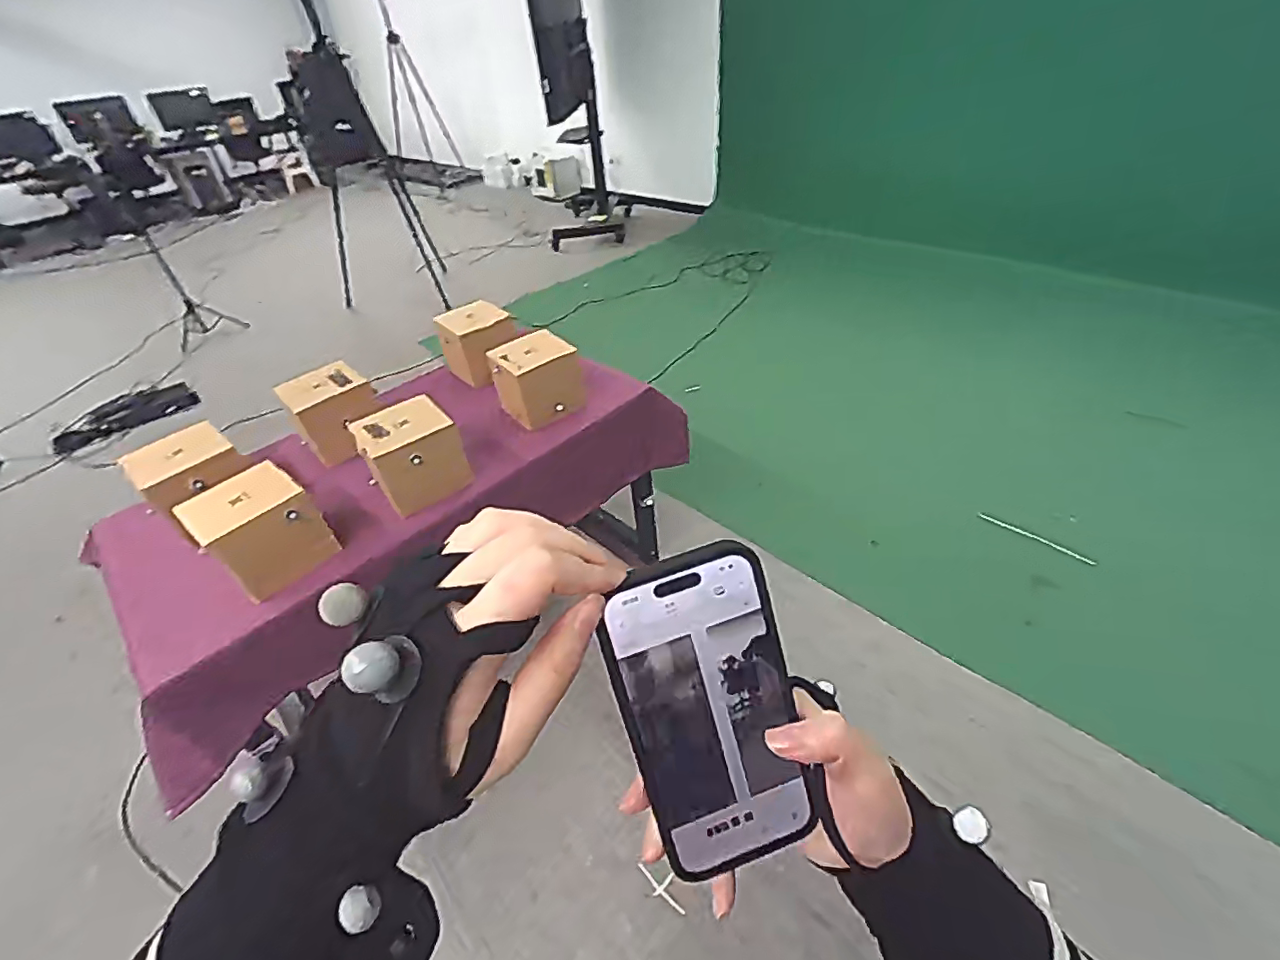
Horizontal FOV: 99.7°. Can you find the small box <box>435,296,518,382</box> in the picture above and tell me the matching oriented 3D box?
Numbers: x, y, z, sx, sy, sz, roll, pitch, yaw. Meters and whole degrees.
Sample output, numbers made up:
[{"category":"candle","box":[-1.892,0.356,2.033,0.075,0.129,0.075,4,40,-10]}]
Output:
[{"category":"small box","box":[-0.467,-0.411,1.580,0.168,0.176,0.179,-33,49,-27]}]

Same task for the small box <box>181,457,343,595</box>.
[{"category":"small box","box":[-0.724,0.090,1.049,0.168,0.176,0.179,25,49,31]}]

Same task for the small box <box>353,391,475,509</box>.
[{"category":"small box","box":[-0.493,-0.065,1.195,0.179,0.176,0.168,-30,47,-26]}]

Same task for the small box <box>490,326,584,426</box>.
[{"category":"small box","box":[-0.257,-0.269,1.395,0.179,0.176,0.168,-30,46,-25]}]
